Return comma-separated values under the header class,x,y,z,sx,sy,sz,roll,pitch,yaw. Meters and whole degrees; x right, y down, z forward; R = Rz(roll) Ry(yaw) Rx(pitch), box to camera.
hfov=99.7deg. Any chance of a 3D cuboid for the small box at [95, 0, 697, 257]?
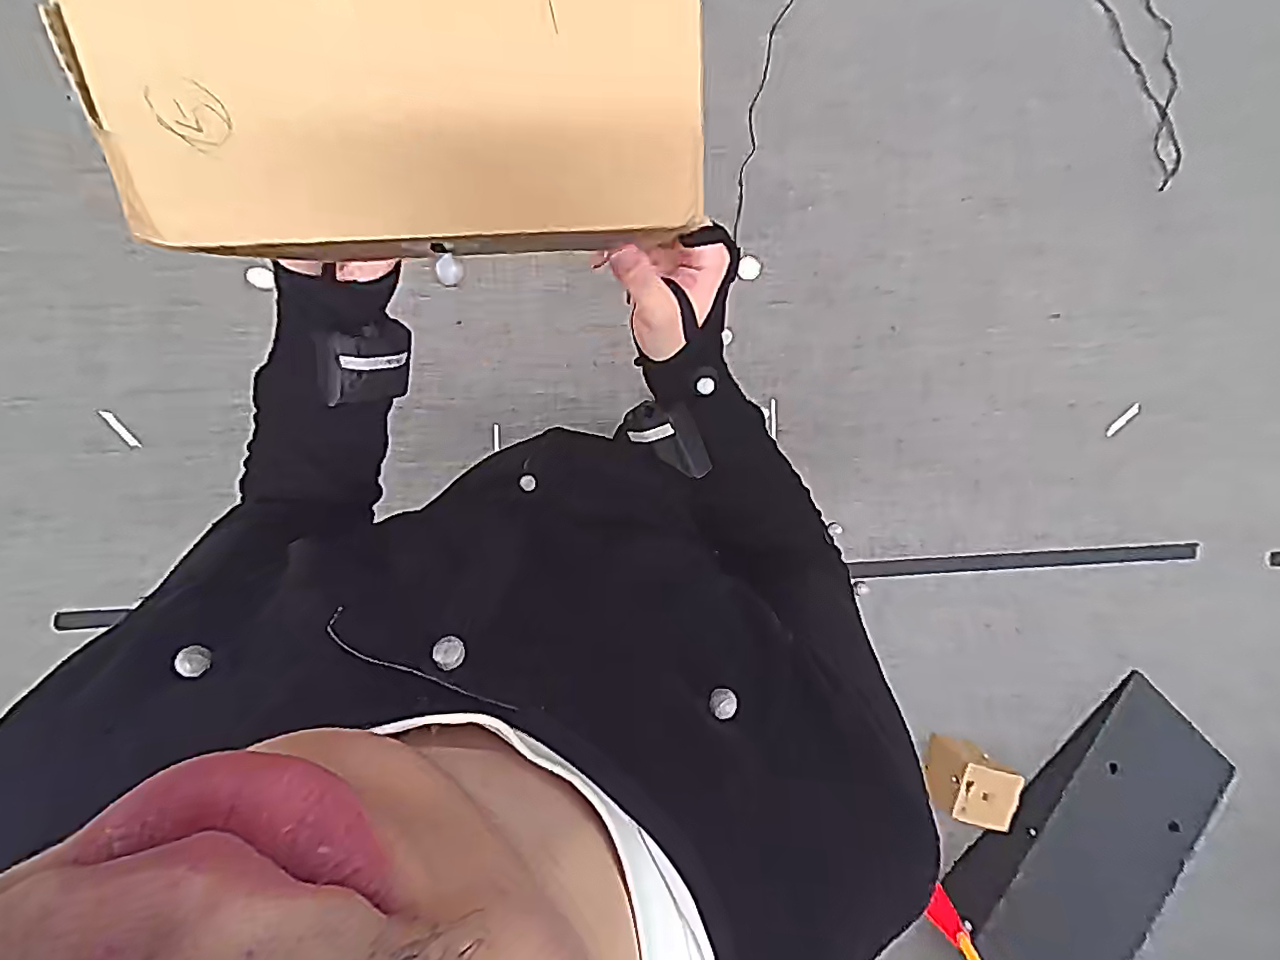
class,x,y,z,sx,sy,sz,roll,pitch,yaw
small box,-0.078,-0.188,0.227,0.179,0.176,0.168,-6,112,-4
